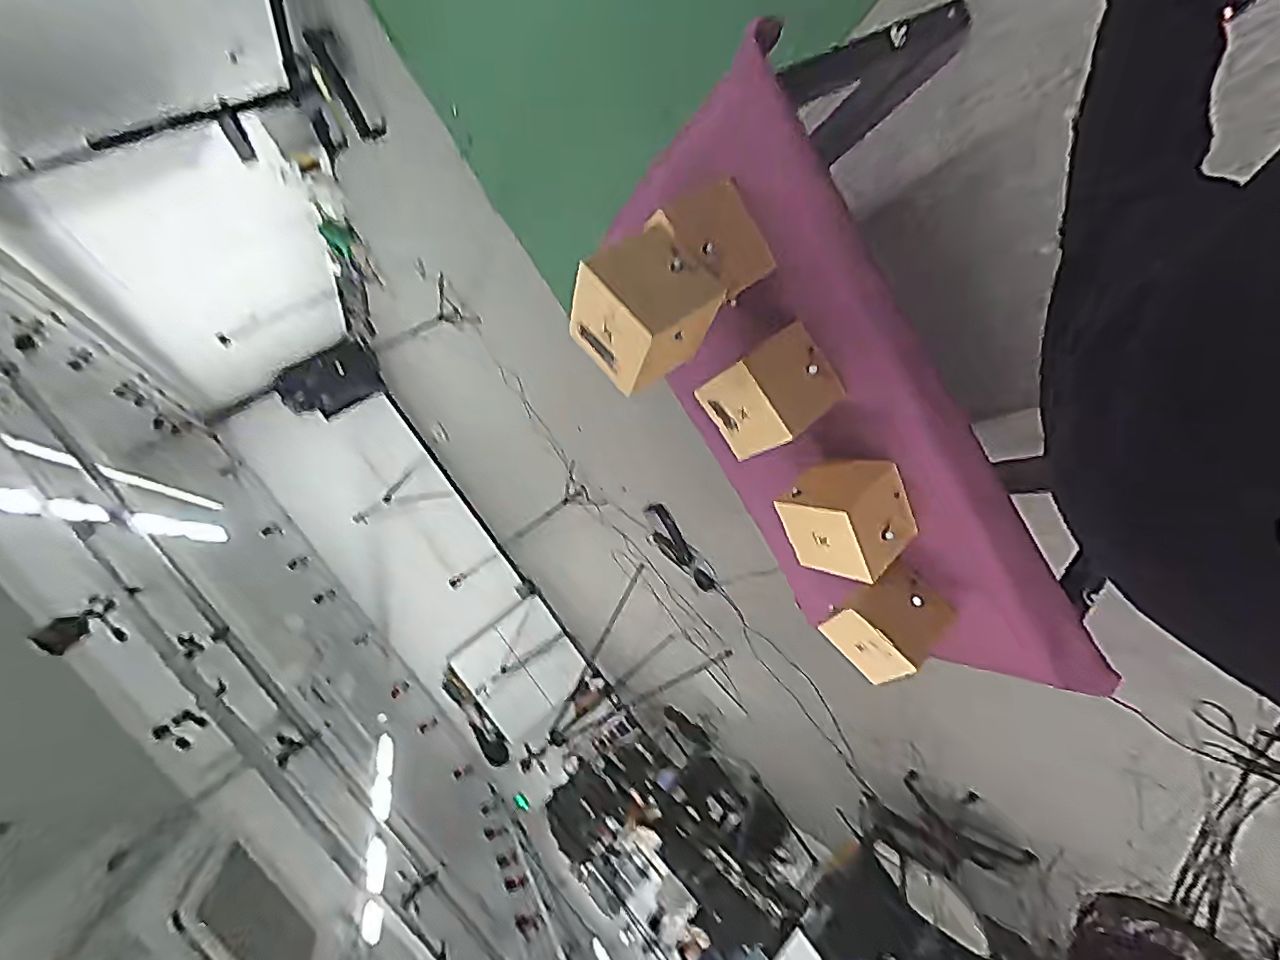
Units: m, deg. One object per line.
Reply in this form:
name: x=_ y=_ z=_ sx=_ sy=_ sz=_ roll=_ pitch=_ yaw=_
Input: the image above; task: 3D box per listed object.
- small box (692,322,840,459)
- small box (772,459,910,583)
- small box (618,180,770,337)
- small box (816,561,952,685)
small box: x=0.238 y=-0.166 z=1.026 sx=0.168 sy=0.176 sz=0.179 roll=54 pitch=155 yaw=-5
small box: x=0.401 y=0.071 z=1.062 sx=0.179 sy=0.176 sz=0.168 roll=8 pitch=130 yaw=58
small box: x=0.098 y=-0.391 z=0.966 sx=0.179 sy=0.176 sz=0.168 roll=57 pitch=156 yaw=-10
small box: x=0.520 y=0.305 z=1.156 sx=0.168 sy=0.176 sz=0.179 roll=45 pitch=154 yaw=16
